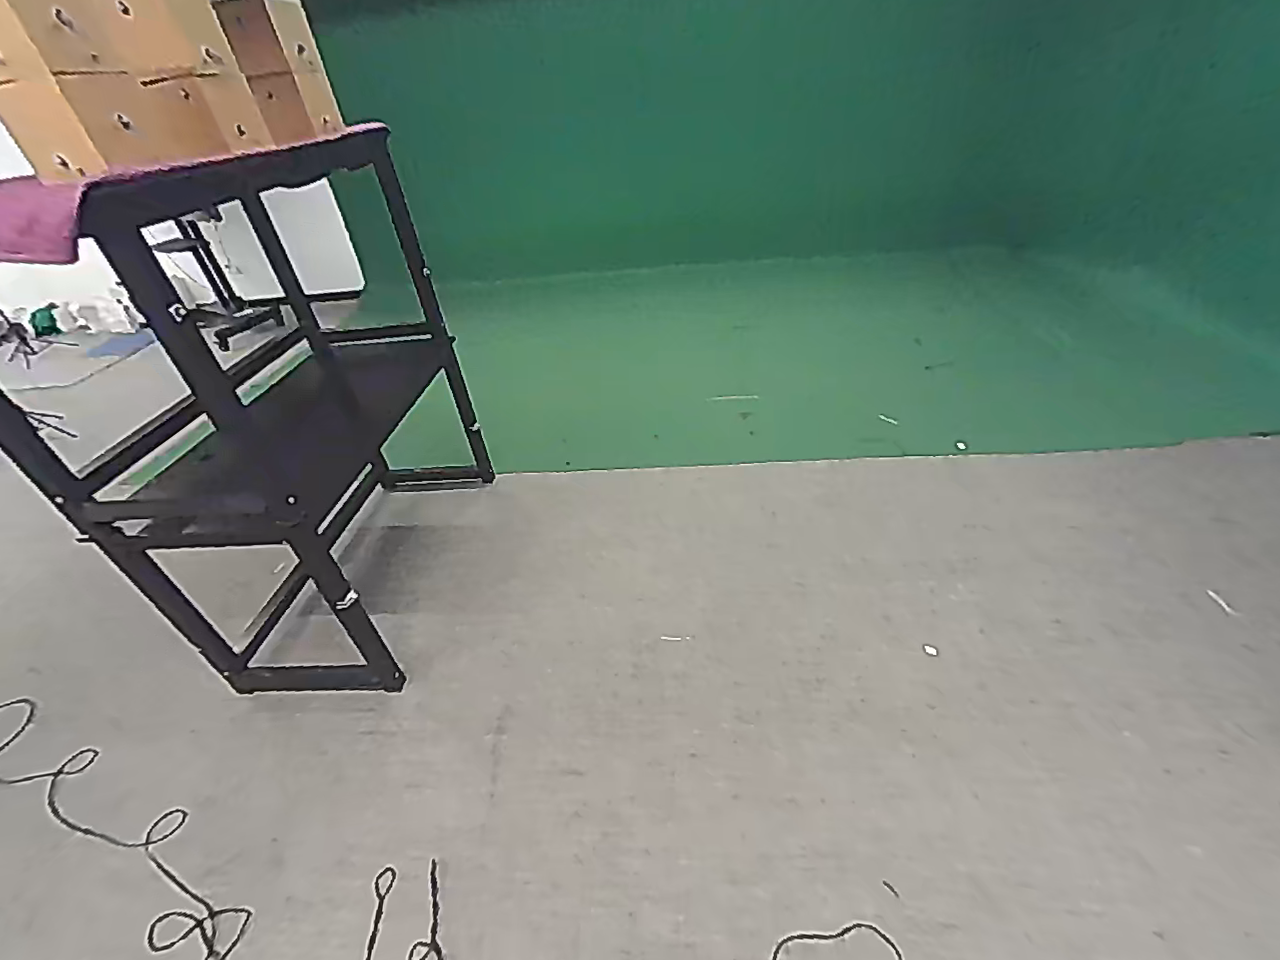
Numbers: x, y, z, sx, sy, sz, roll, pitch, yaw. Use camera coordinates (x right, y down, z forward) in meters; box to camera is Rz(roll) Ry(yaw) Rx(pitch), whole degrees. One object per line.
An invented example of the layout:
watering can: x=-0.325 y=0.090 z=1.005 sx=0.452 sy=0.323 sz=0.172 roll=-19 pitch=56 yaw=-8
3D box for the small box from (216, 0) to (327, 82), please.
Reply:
small box: x=-1.053 y=-1.254 z=1.552 sx=0.179 sy=0.176 sz=0.168 roll=0 pitch=39 yaw=9

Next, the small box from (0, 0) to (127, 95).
small box: x=-1.100 y=-0.806 z=0.966 sx=0.179 sy=0.176 sz=0.168 roll=-3 pitch=37 yaw=7

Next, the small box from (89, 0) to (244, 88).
small box: x=-1.077 y=-1.013 z=1.245 sx=0.179 sy=0.176 sz=0.168 roll=-3 pitch=38 yaw=5

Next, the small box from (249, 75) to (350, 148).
small box: x=-1.035 y=-1.124 z=1.651 sx=0.179 sy=0.176 sz=0.168 roll=1 pitch=38 yaw=9

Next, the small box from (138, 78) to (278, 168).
small box: x=-1.063 y=-0.888 z=1.347 sx=0.179 sy=0.176 sz=0.168 roll=-1 pitch=37 yaw=10
